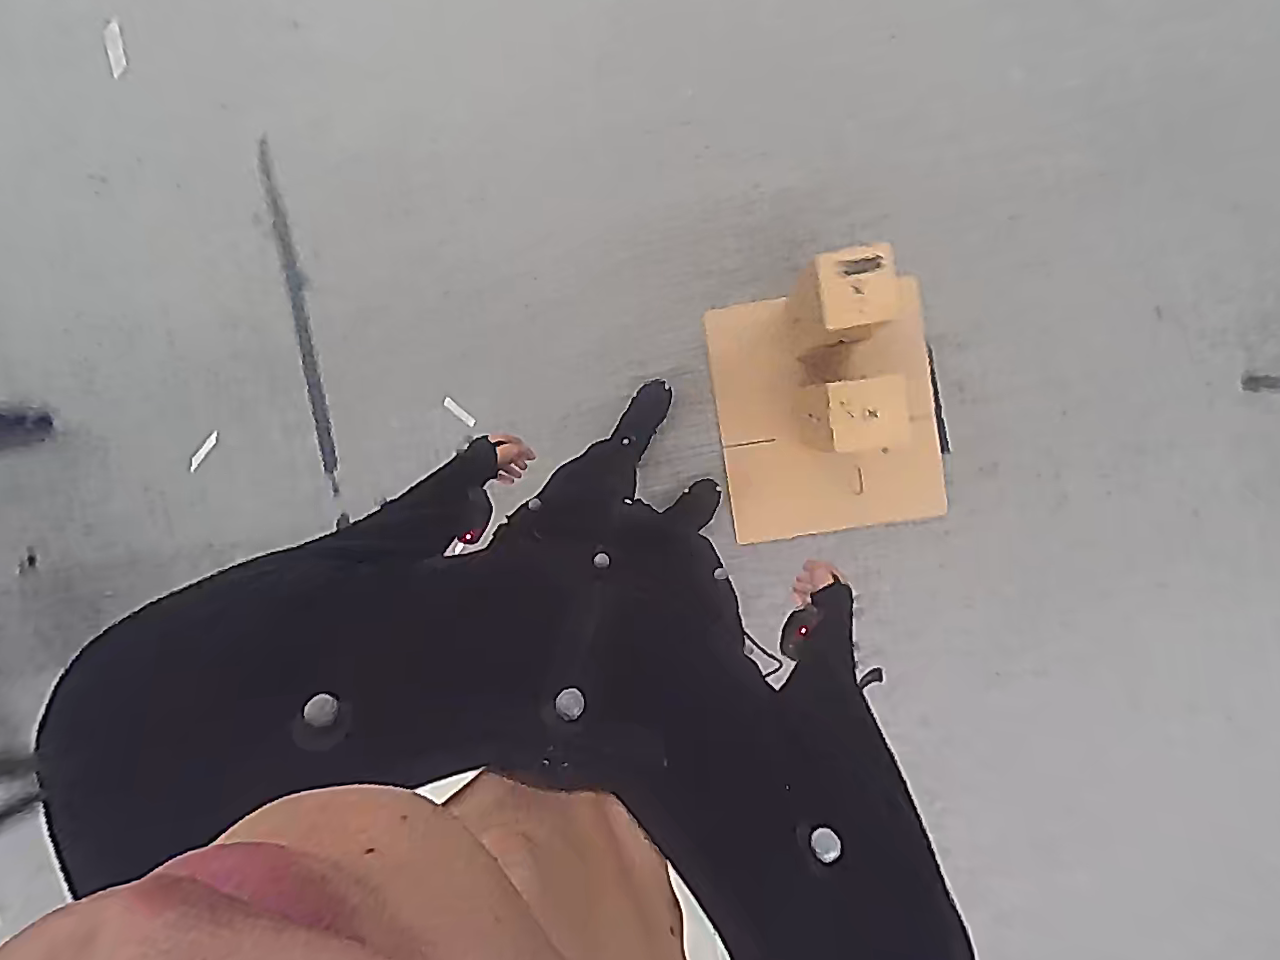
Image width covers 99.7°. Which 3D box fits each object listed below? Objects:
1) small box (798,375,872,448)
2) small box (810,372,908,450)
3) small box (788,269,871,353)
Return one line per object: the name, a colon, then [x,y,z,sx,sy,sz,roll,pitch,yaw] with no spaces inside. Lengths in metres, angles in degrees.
small box: [0.540,-0.186,1.490,0.168,0.176,0.179,-7,93,5]
small box: [0.531,-0.166,1.326,0.179,0.176,0.168,-6,94,5]
small box: [0.510,-0.450,1.471,0.168,0.176,0.179,-8,92,5]
